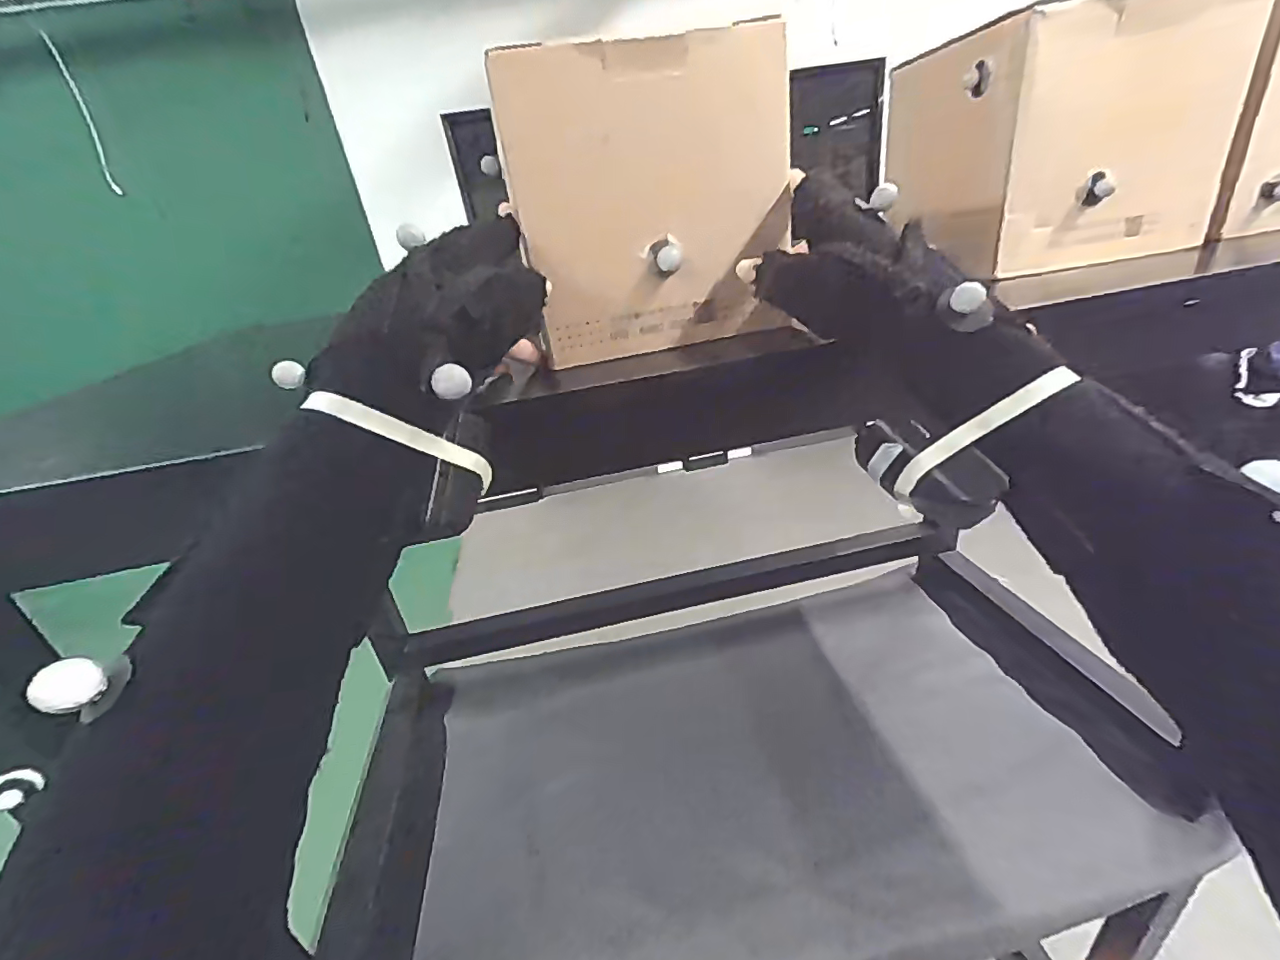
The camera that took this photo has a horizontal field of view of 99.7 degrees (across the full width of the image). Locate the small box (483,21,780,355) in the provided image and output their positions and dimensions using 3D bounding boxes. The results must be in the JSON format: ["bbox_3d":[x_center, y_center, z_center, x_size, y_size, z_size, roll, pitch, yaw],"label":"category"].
[{"bbox_3d":[-0.008,-0.197,0.399,0.168,0.176,0.179,-13,26,-7],"label":"small box"}]

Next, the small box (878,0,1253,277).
[{"bbox_3d":[0.320,-0.272,0.455,0.168,0.176,0.179,-9,26,-2],"label":"small box"}]

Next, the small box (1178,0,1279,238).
[{"bbox_3d":[0.498,-0.309,0.468,0.168,0.176,0.179,-10,25,-3],"label":"small box"}]
